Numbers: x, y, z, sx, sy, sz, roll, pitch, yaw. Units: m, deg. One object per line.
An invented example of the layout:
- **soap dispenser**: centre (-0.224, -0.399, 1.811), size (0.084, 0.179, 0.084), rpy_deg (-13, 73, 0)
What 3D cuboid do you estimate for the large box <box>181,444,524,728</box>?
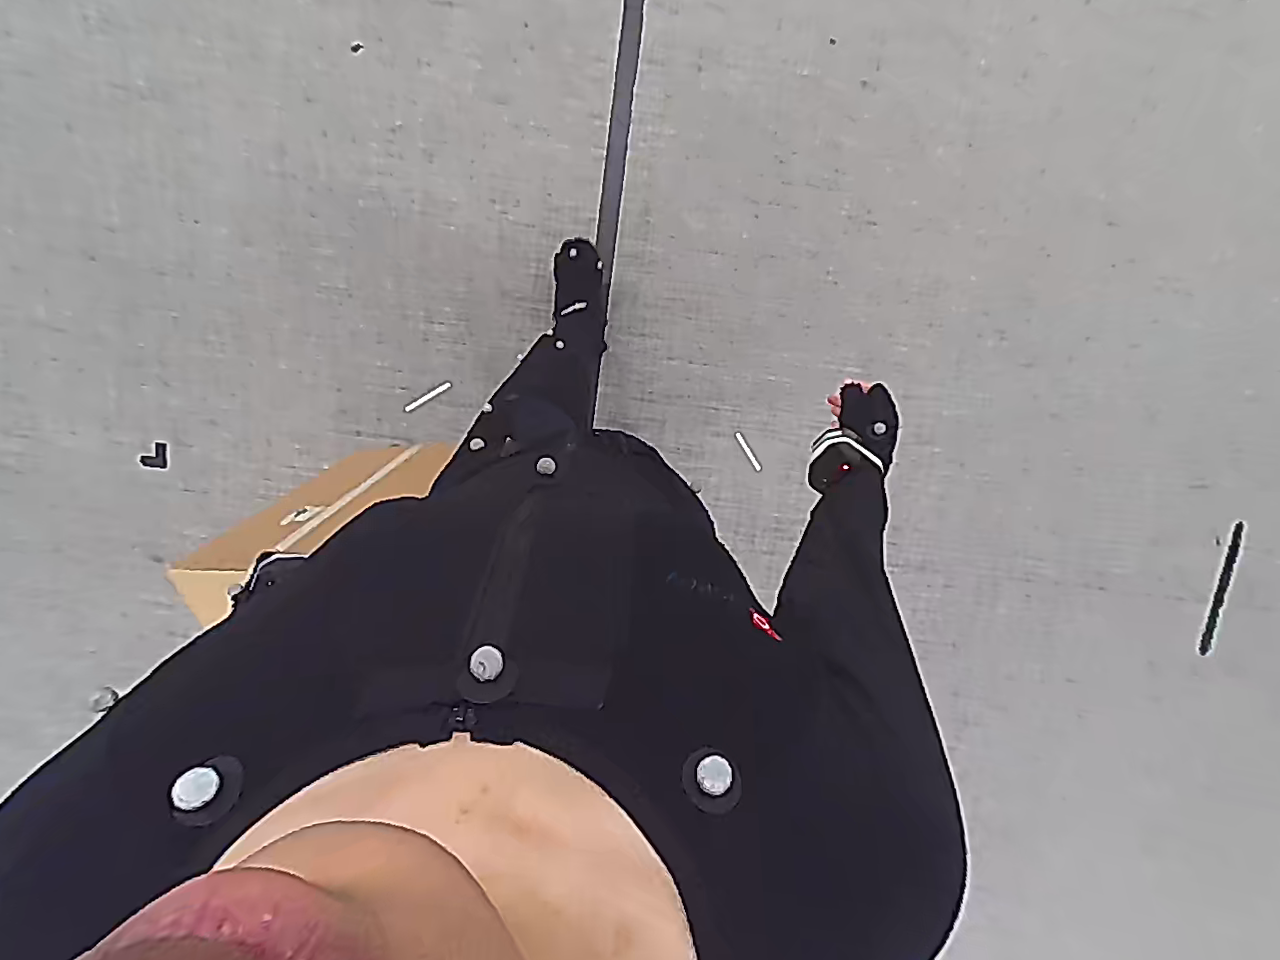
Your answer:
- **large box**: centre (-0.447, 0.159, 0.962), size (0.320, 0.408, 0.320), rpy_deg (-2, 117, 15)
